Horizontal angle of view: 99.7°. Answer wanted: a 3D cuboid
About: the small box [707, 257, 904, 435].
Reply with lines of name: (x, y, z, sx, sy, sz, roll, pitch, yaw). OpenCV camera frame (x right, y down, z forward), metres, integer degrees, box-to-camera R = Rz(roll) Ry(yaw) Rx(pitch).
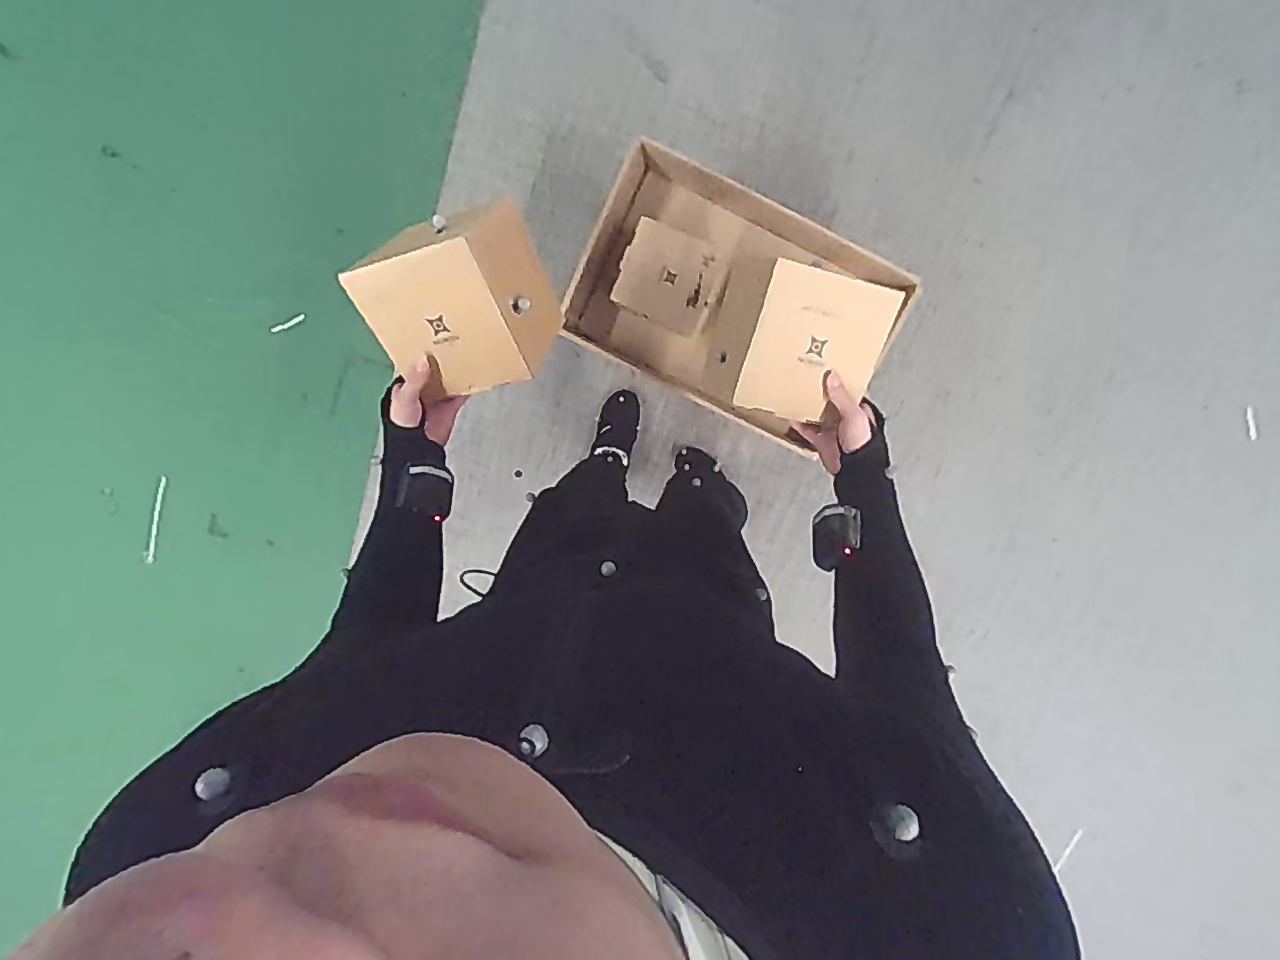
small box: (0.197, -0.180, 0.707, 0.168, 0.176, 0.179, 10, 111, -12)

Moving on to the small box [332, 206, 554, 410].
small box: (-0.225, -0.217, 0.670, 0.168, 0.176, 0.179, -10, 130, 15)

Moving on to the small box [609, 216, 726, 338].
small box: (0.057, -0.398, 1.095, 0.179, 0.176, 0.168, 24, 102, 0)
